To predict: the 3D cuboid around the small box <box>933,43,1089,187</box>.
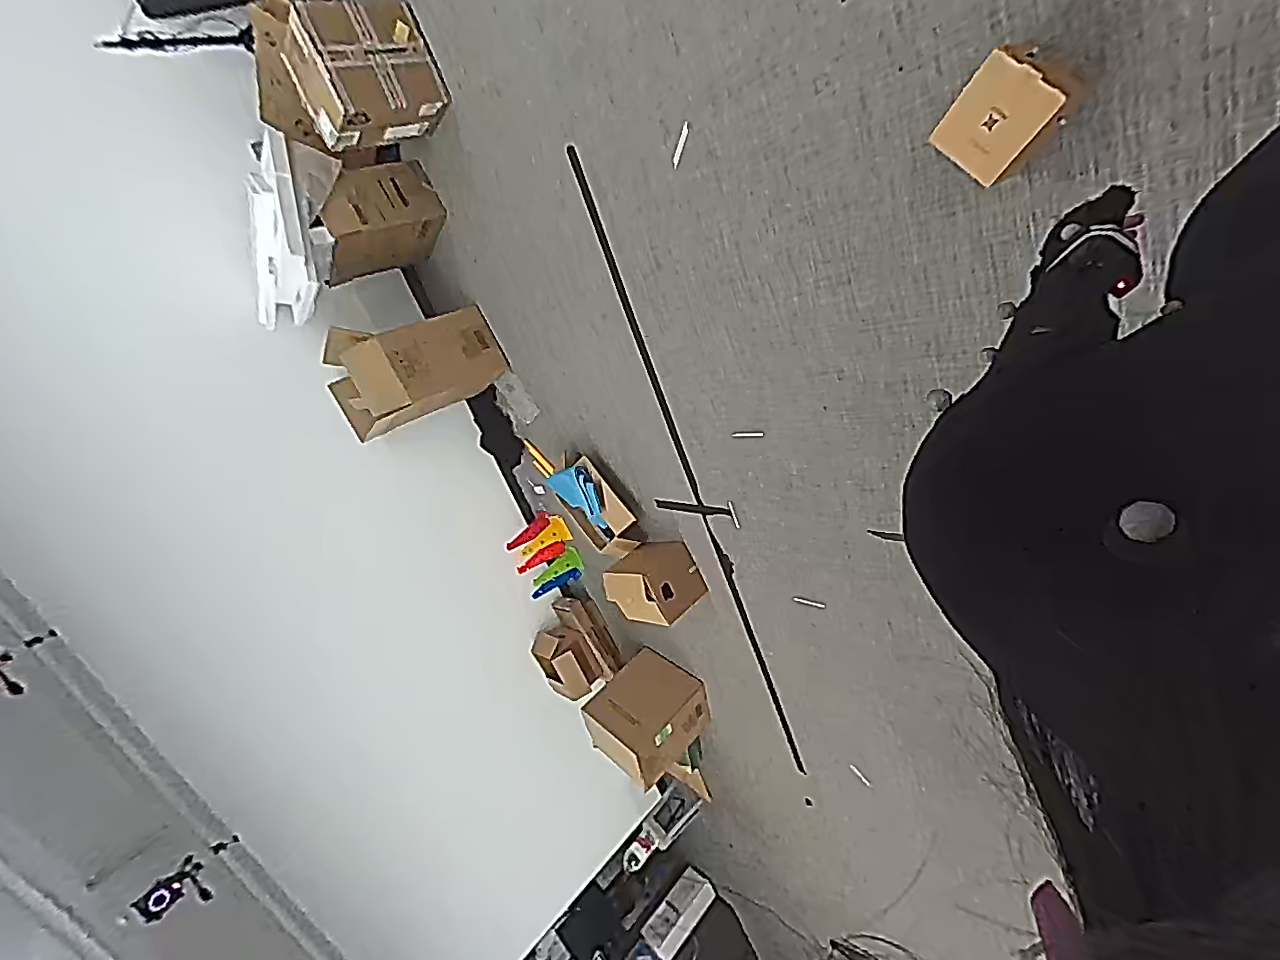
[{"bbox_3d":[0.731,-0.720,1.062,0.168,0.176,0.179,49,148,13],"label":"small box"}]
